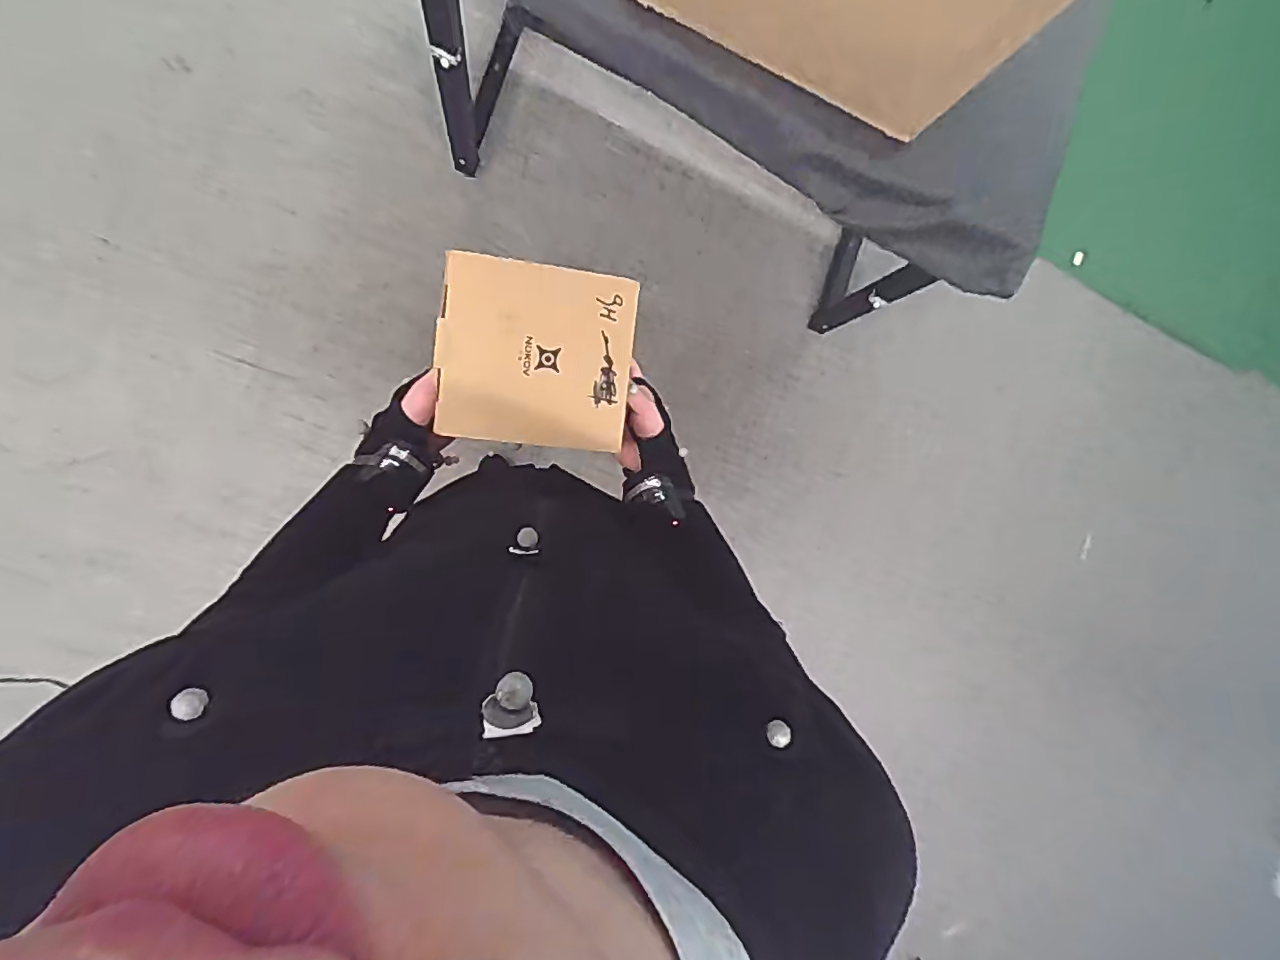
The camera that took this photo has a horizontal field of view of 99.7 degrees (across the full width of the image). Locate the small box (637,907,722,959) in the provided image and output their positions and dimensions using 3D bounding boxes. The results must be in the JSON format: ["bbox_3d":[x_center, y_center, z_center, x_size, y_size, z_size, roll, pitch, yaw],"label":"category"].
[{"bbox_3d":[0.100,1.281,1.423,0.168,0.176,0.179,17,87,-15],"label":"small box"}]

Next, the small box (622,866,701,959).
[{"bbox_3d":[0.055,1.282,1.582,0.168,0.176,0.179,17,86,-15],"label":"small box"}]

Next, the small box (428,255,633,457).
[{"bbox_3d":[-0.116,-0.123,0.583,0.179,0.176,0.168,6,98,-13],"label":"small box"}]
